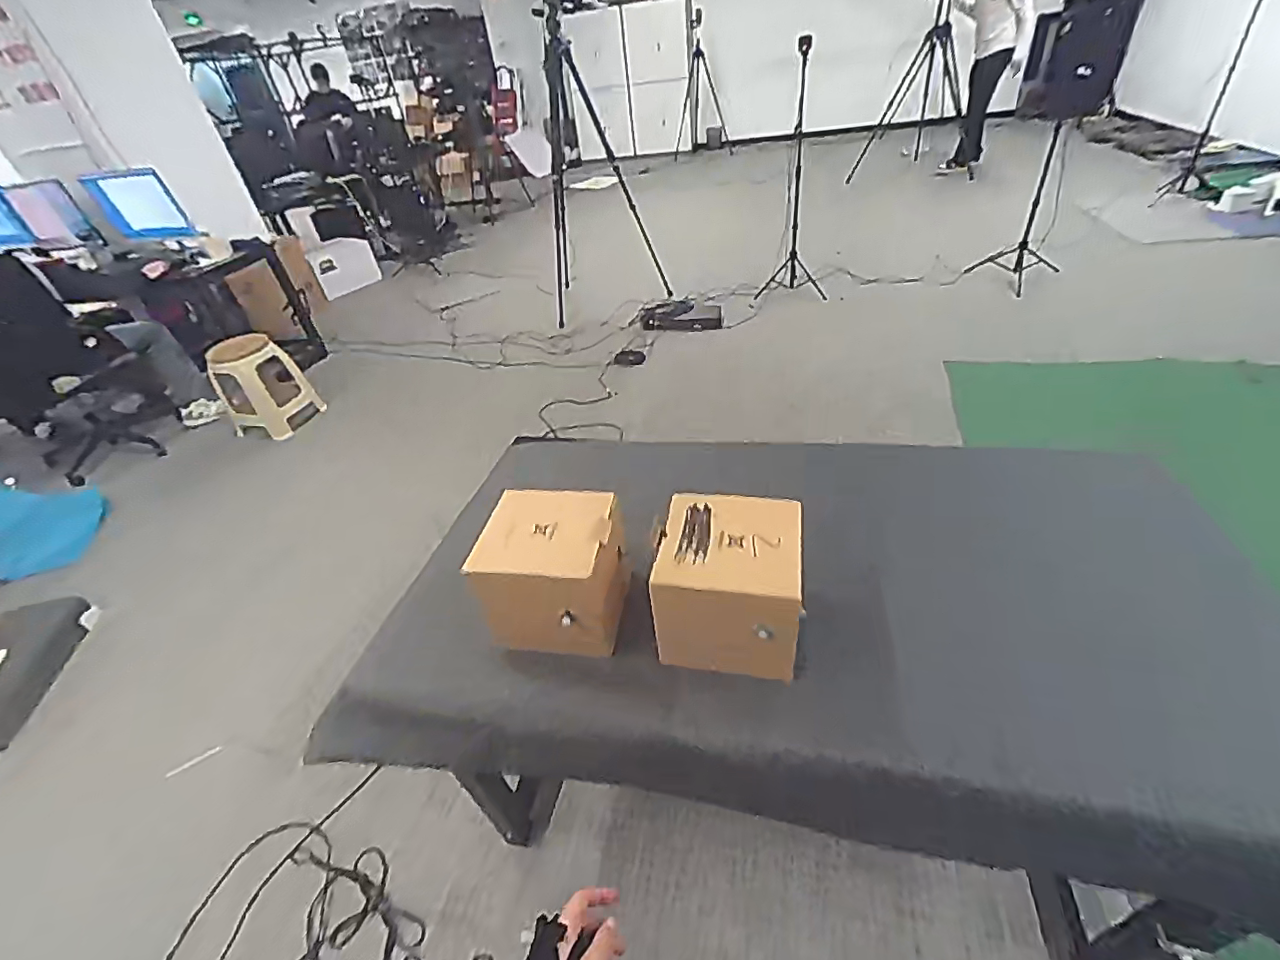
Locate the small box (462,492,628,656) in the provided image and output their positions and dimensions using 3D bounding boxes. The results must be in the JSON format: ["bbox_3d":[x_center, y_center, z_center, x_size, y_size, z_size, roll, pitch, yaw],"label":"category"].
[{"bbox_3d":[-0.120,0.135,0.776,0.179,0.176,0.168,0,37,11],"label":"small box"}]
